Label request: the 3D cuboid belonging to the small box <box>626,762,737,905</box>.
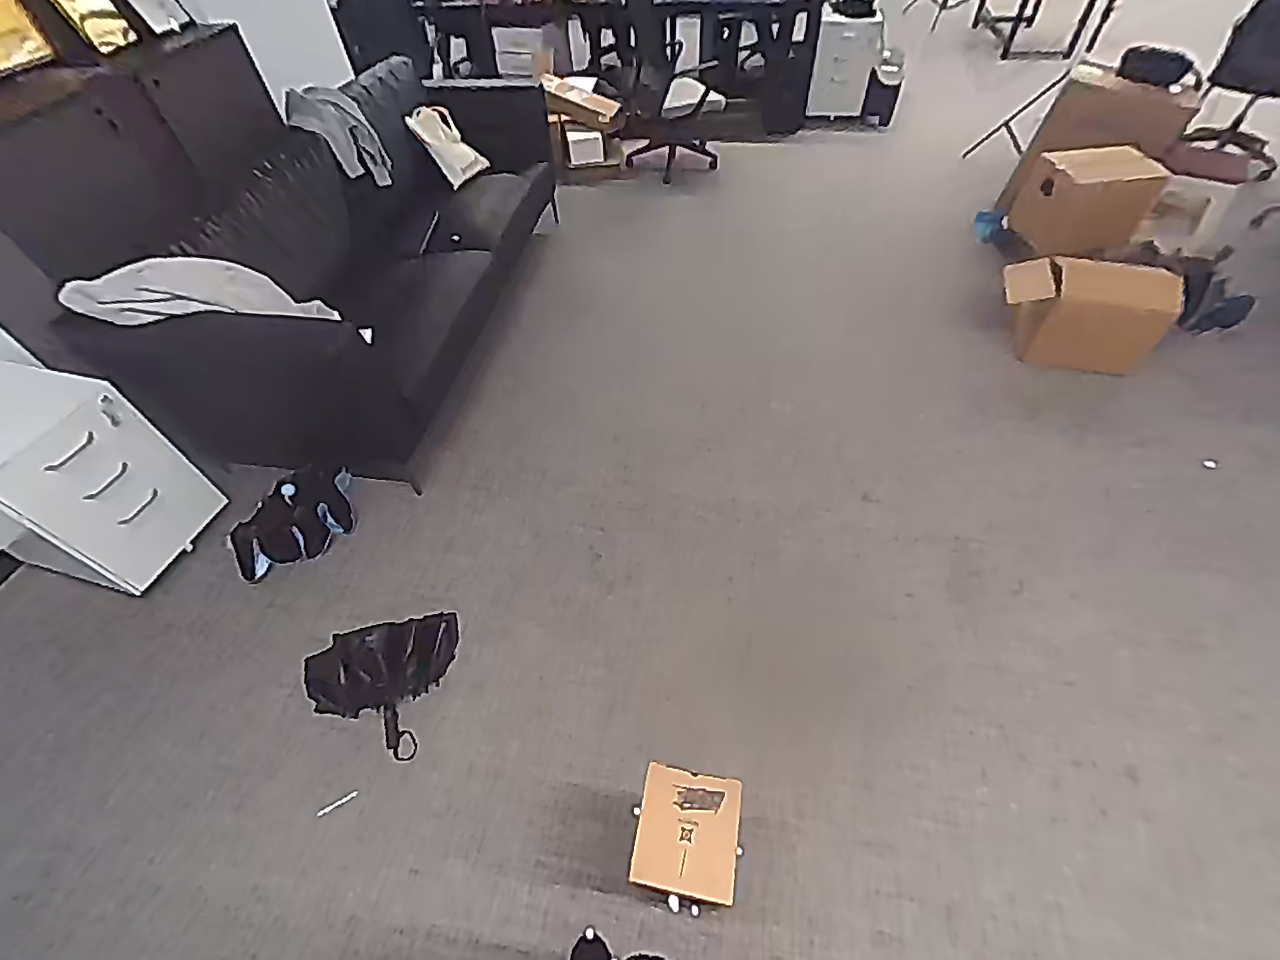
[{"bbox_3d":[0.074,0.630,0.964,0.168,0.176,0.179,8,53,8],"label":"small box"}]
